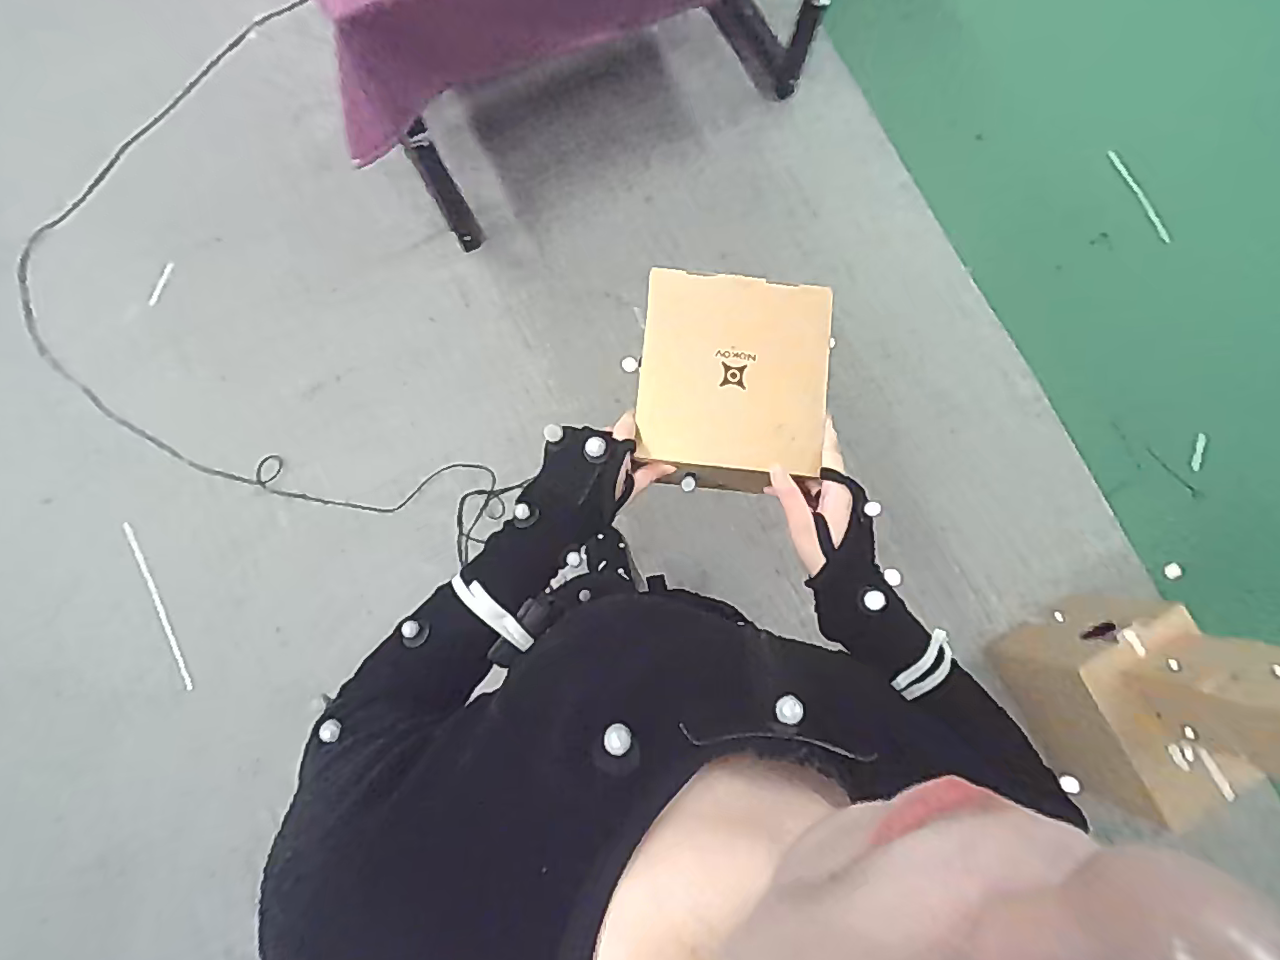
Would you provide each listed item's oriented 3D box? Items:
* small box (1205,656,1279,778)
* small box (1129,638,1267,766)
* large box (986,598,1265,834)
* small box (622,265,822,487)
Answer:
[{"bbox_3d":[1.200,0.437,0.970,0.168,0.176,0.179,-32,86,-6],"label":"small box"},{"bbox_3d":[1.189,0.453,1.133,0.179,0.176,0.168,-28,85,-7],"label":"small box"},{"bbox_3d":[1.193,0.557,1.365,0.320,0.320,0.408,-27,85,-6],"label":"large box"},{"bbox_3d":[0.072,-0.090,0.554,0.168,0.176,0.179,5,83,-1],"label":"small box"}]
